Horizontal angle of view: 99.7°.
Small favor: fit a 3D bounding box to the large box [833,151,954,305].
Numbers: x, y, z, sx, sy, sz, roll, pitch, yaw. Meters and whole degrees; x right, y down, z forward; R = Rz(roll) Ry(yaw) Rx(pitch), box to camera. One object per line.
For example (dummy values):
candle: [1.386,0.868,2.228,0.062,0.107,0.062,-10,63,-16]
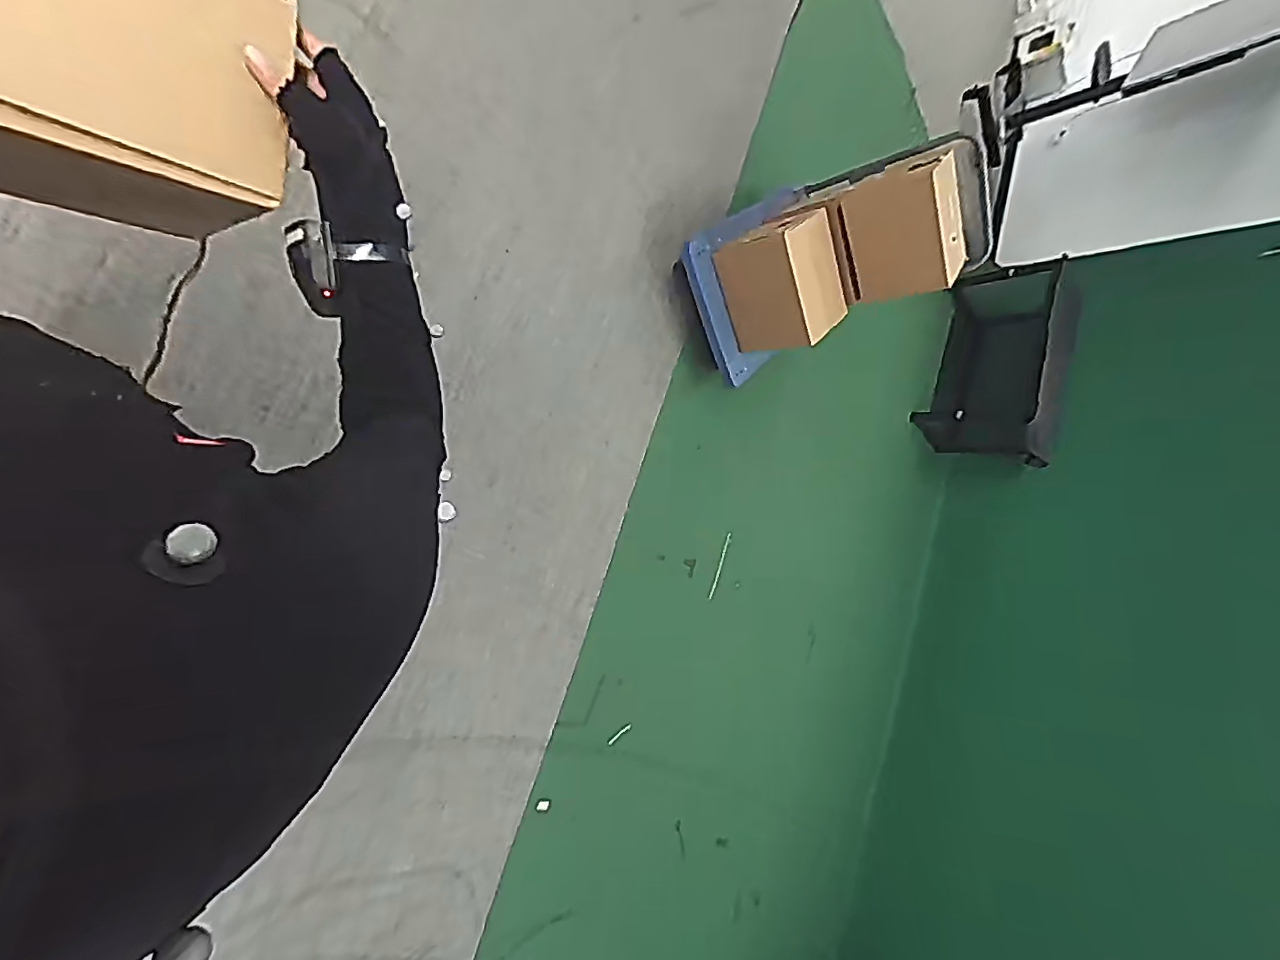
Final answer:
large box: [0.958,-0.931,2.027,0.320,0.320,0.408,-48,125,-36]
